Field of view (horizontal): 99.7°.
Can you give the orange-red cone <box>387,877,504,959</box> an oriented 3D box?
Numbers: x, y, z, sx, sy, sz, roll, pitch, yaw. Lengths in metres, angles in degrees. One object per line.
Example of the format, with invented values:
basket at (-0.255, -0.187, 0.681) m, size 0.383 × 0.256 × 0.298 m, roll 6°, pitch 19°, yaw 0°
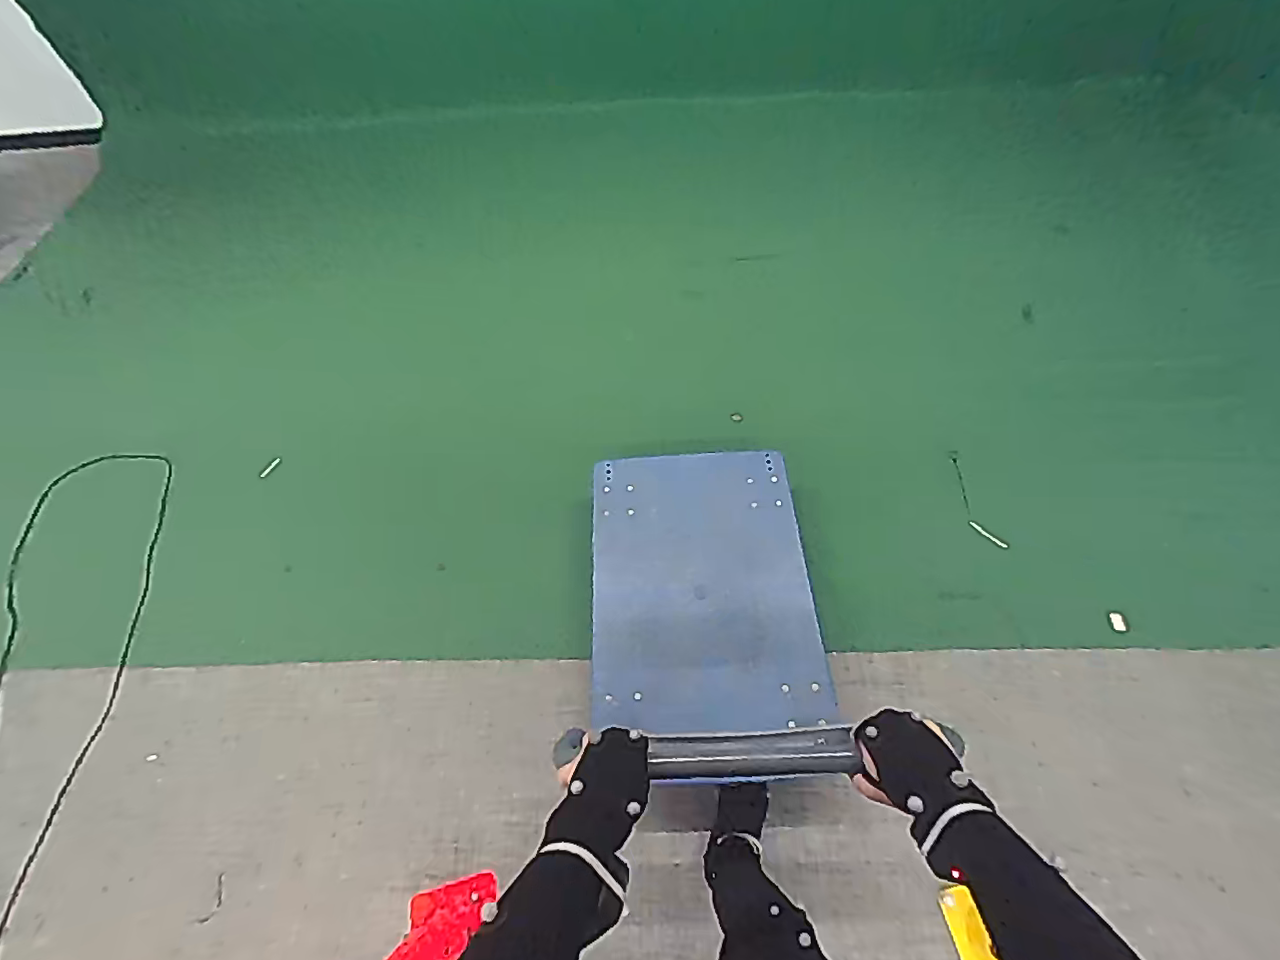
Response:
orange-red cone at (-0.418, 0.933, 1.060) m, size 0.199 × 0.360 × 0.198 m, roll -15°, pitch 58°, yaw -4°
